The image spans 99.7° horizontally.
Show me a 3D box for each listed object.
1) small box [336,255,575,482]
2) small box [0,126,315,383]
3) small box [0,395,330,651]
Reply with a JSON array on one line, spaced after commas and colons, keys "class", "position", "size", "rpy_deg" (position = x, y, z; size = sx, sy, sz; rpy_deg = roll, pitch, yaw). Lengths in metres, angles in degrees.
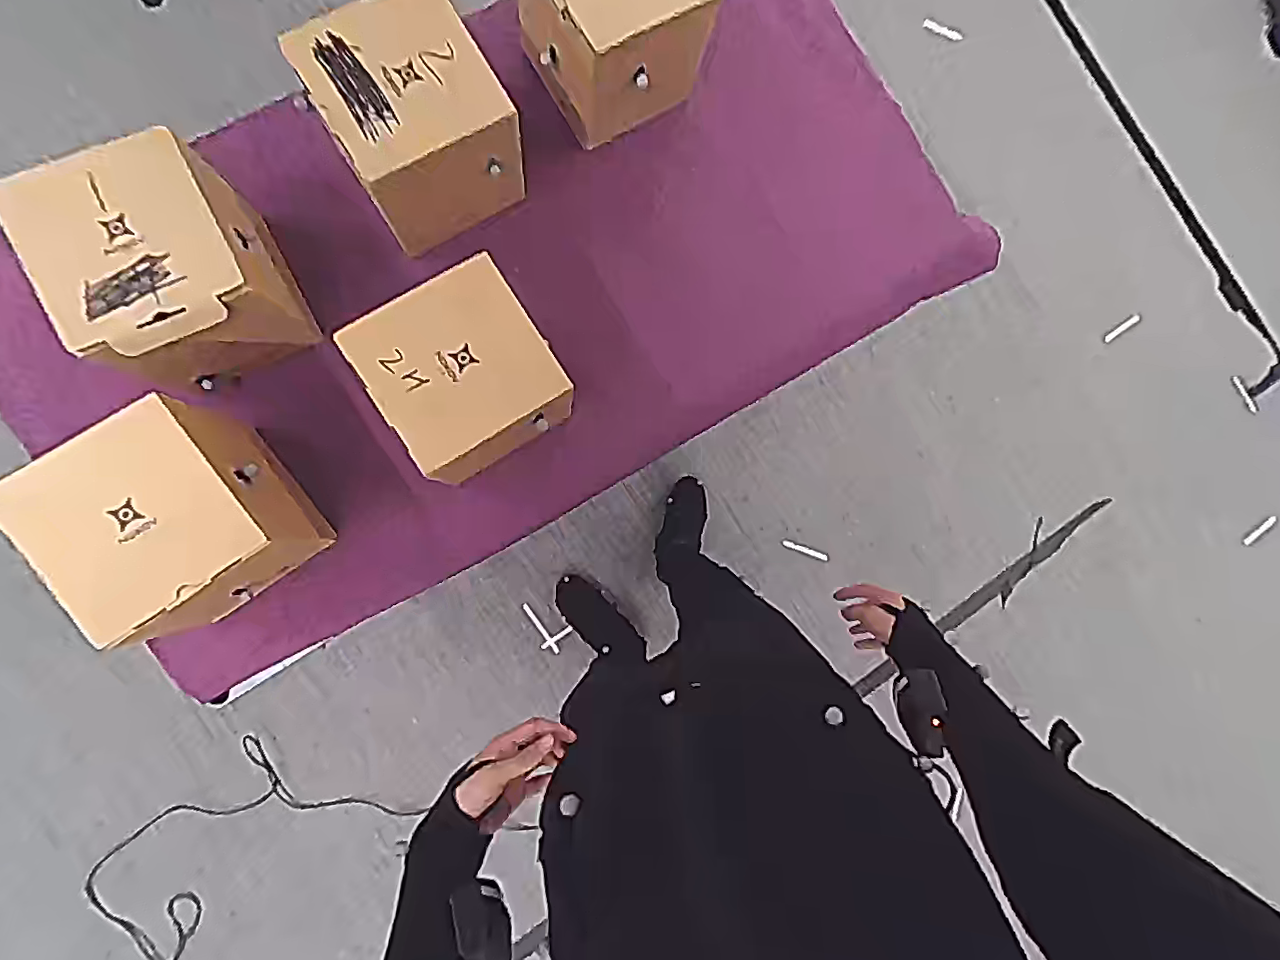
[{"class": "small box", "position": [-0.192, -0.112, 0.613], "size": [0.179, 0.176, 0.168], "rpy_deg": [-33, 92, -8]}, {"class": "small box", "position": [-0.490, -0.217, 0.576], "size": [0.168, 0.176, 0.179], "rpy_deg": [-27, 91, -10]}, {"class": "small box", "position": [-0.470, 0.043, 0.562], "size": [0.168, 0.176, 0.179], "rpy_deg": [-37, 93, -11]}]
